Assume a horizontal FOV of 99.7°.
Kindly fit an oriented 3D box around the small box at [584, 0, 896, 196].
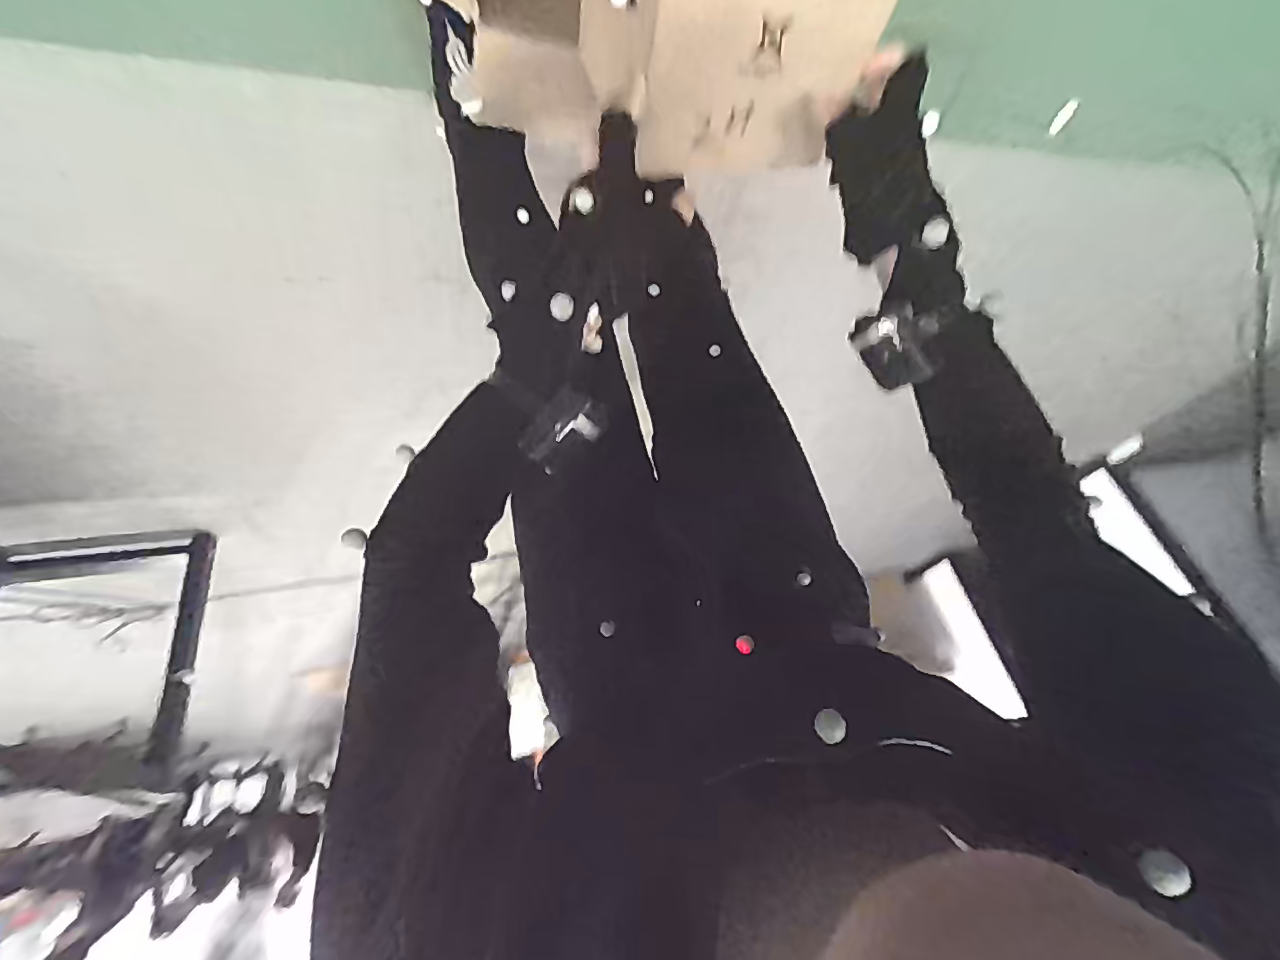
[{"bbox_3d":[0.058,-0.346,0.402,0.168,0.176,0.179,-10,156,-15],"label":"small box"}]
